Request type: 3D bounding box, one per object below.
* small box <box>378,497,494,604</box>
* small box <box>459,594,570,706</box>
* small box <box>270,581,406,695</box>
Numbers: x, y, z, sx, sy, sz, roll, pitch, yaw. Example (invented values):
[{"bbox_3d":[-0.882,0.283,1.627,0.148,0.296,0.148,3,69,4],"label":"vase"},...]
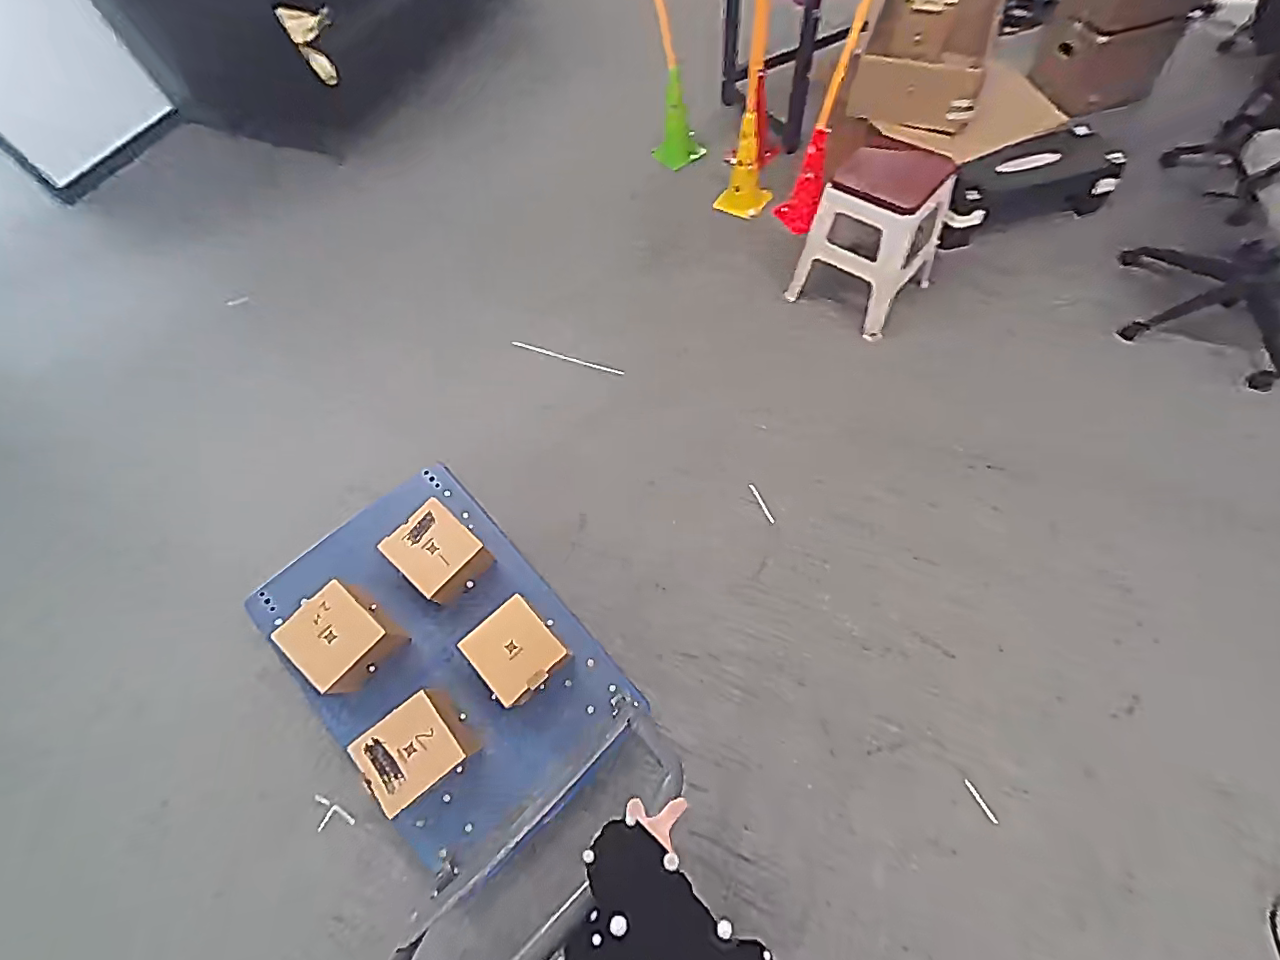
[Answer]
[{"bbox_3d":[-0.476,0.176,1.286,0.179,0.176,0.168,41,73,10],"label":"small box"},{"bbox_3d":[-0.276,0.386,1.225,0.168,0.176,0.179,-41,79,-16],"label":"small box"},{"bbox_3d":[-0.661,0.354,1.209,0.179,0.176,0.168,41,72,11],"label":"small box"}]
